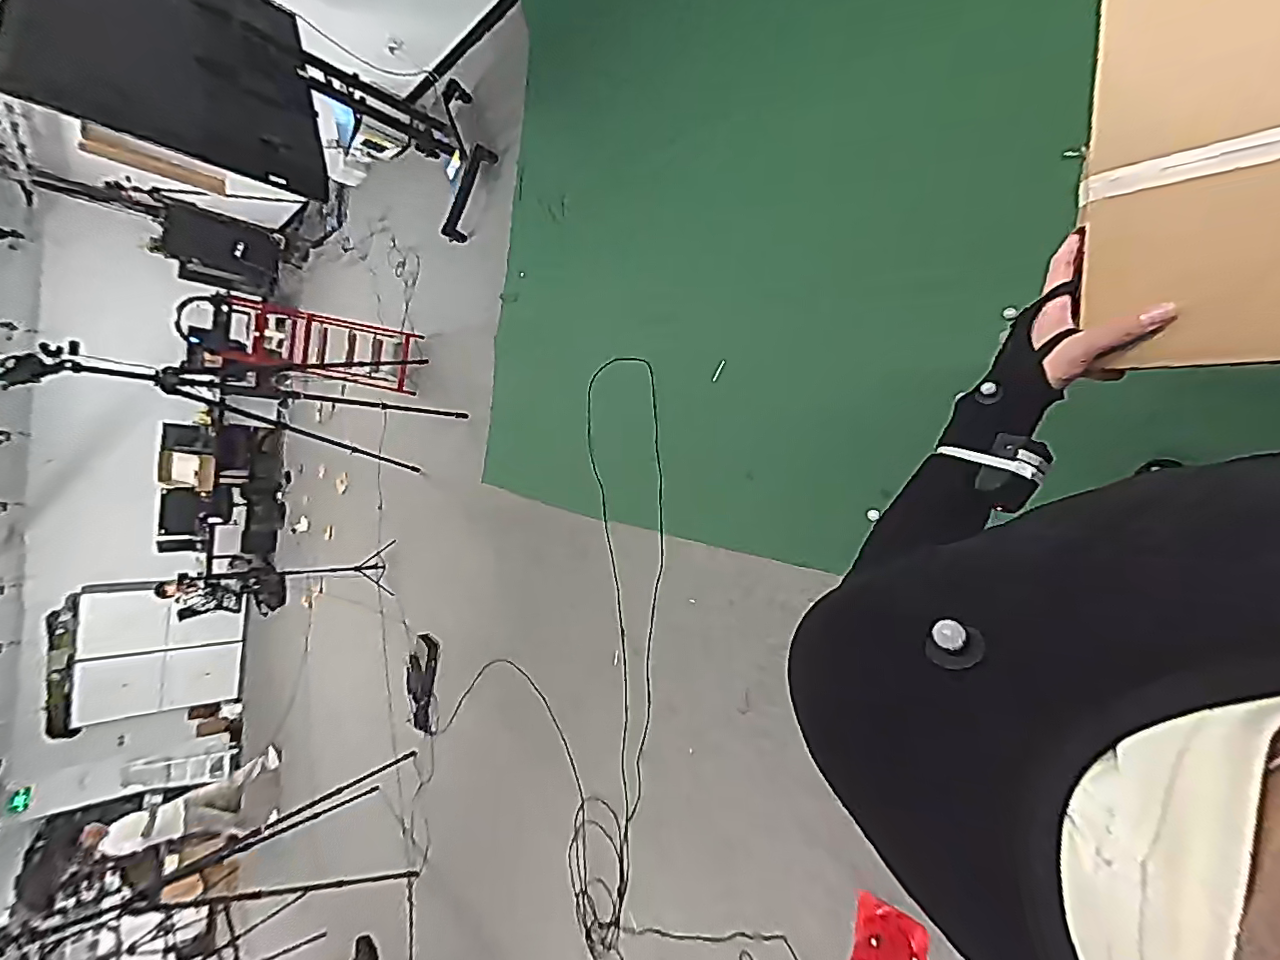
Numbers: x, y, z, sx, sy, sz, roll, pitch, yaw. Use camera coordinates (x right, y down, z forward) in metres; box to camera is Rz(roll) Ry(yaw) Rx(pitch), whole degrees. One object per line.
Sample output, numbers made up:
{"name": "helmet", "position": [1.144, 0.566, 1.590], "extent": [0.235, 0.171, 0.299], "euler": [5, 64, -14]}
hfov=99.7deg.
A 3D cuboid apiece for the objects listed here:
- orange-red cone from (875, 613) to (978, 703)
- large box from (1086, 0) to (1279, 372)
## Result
{"name": "orange-red cone", "position": [0.702, 0.486, 1.407], "extent": [0.199, 0.360, 0.198], "euler": [20, 100, 46]}
{"name": "large box", "position": [0.644, -0.260, 0.434], "extent": [0.408, 0.320, 0.320], "euler": [6, 103, 47]}
